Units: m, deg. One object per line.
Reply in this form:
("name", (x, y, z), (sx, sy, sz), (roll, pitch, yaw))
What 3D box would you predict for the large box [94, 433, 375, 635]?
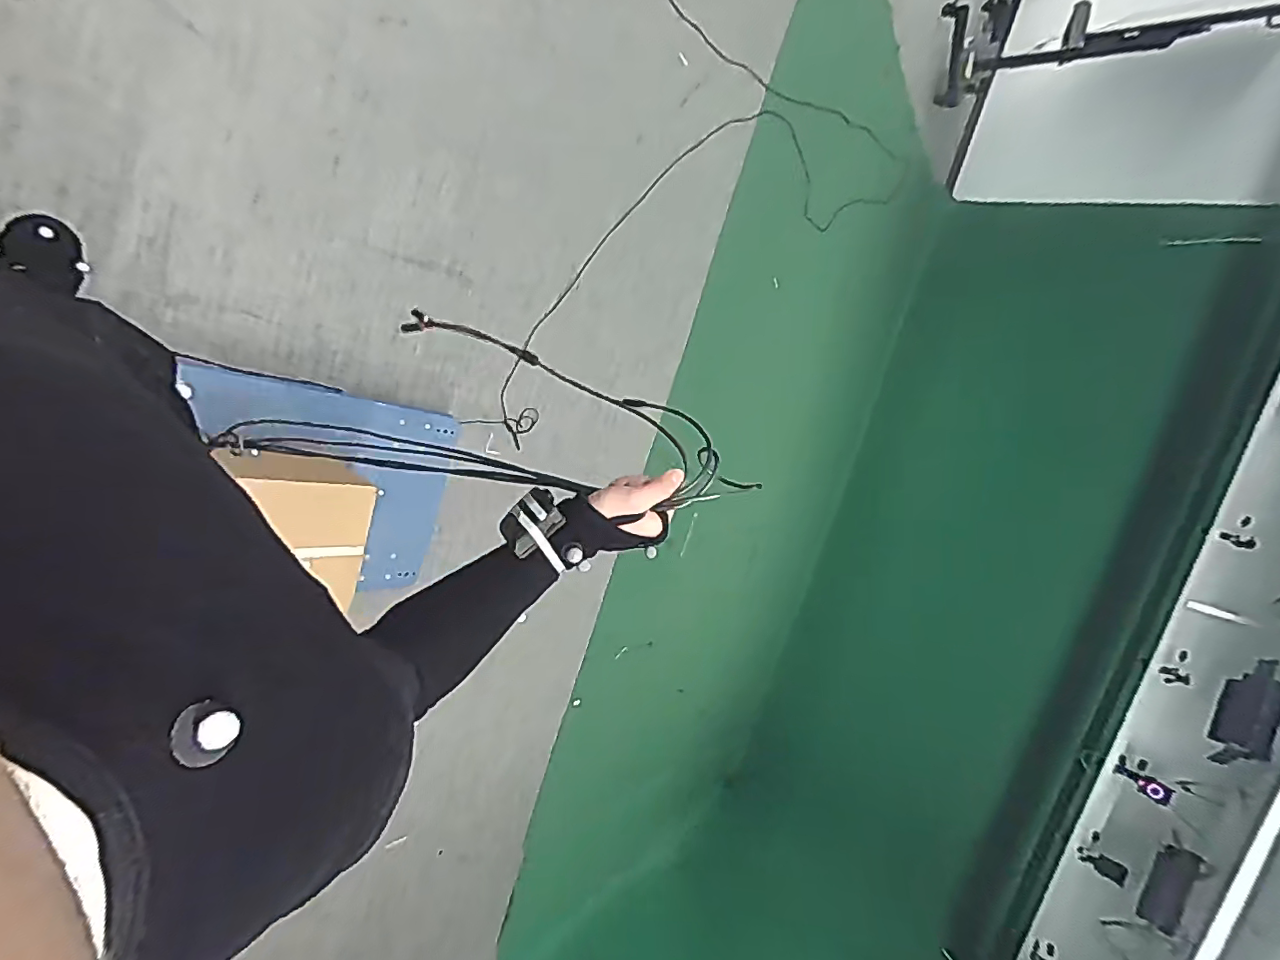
("large box", (-0.881, 0.101, 1.188), (0.408, 0.320, 0.320), (7, 103, -54))
